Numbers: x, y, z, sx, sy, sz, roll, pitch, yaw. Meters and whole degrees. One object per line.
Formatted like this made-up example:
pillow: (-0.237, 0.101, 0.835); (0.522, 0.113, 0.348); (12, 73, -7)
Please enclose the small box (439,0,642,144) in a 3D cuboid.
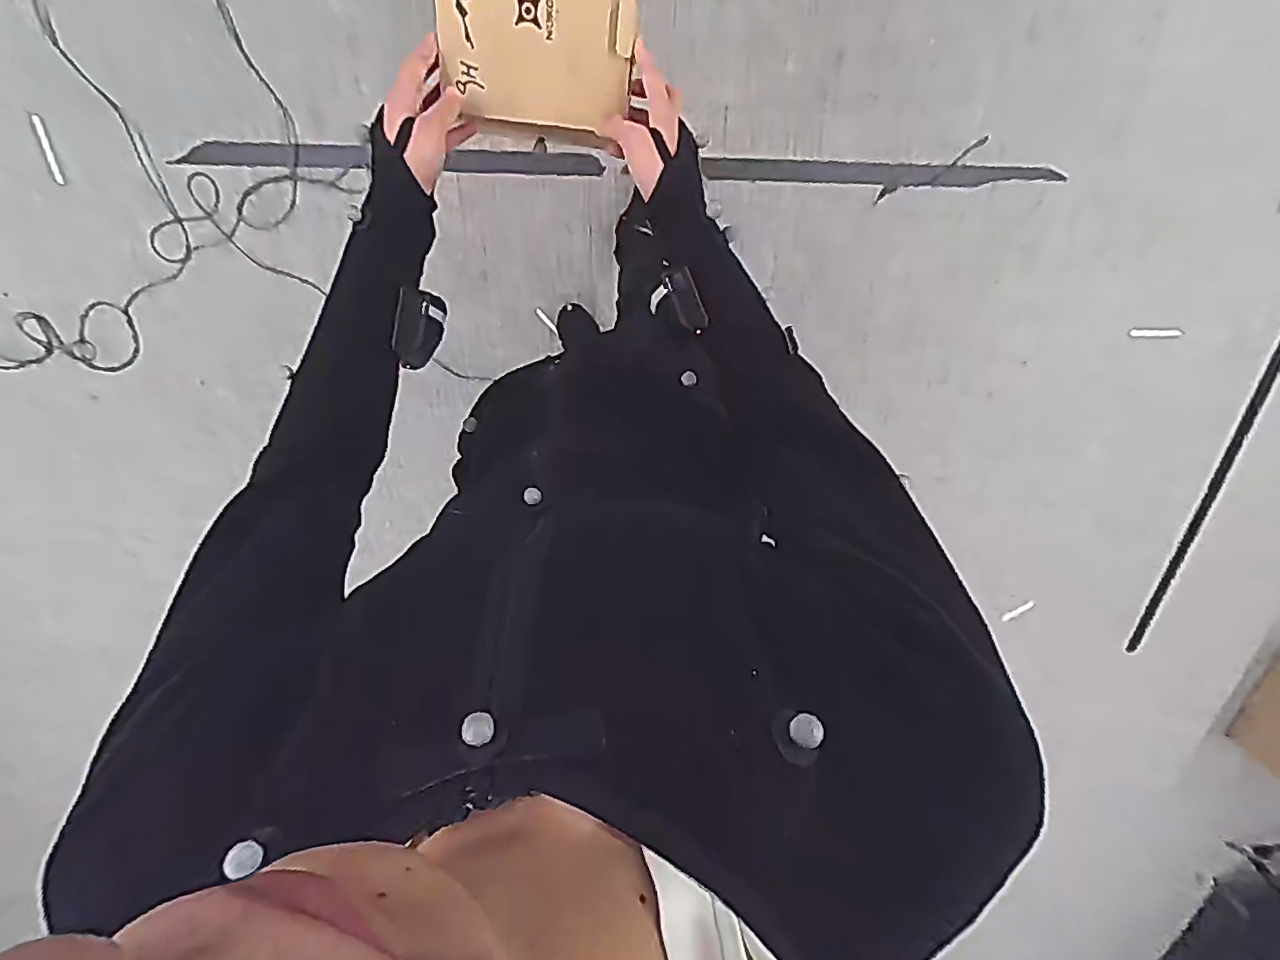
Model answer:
small box: (-0.099, -0.448, 0.543); (0.179, 0.176, 0.168); (1, 117, -11)
